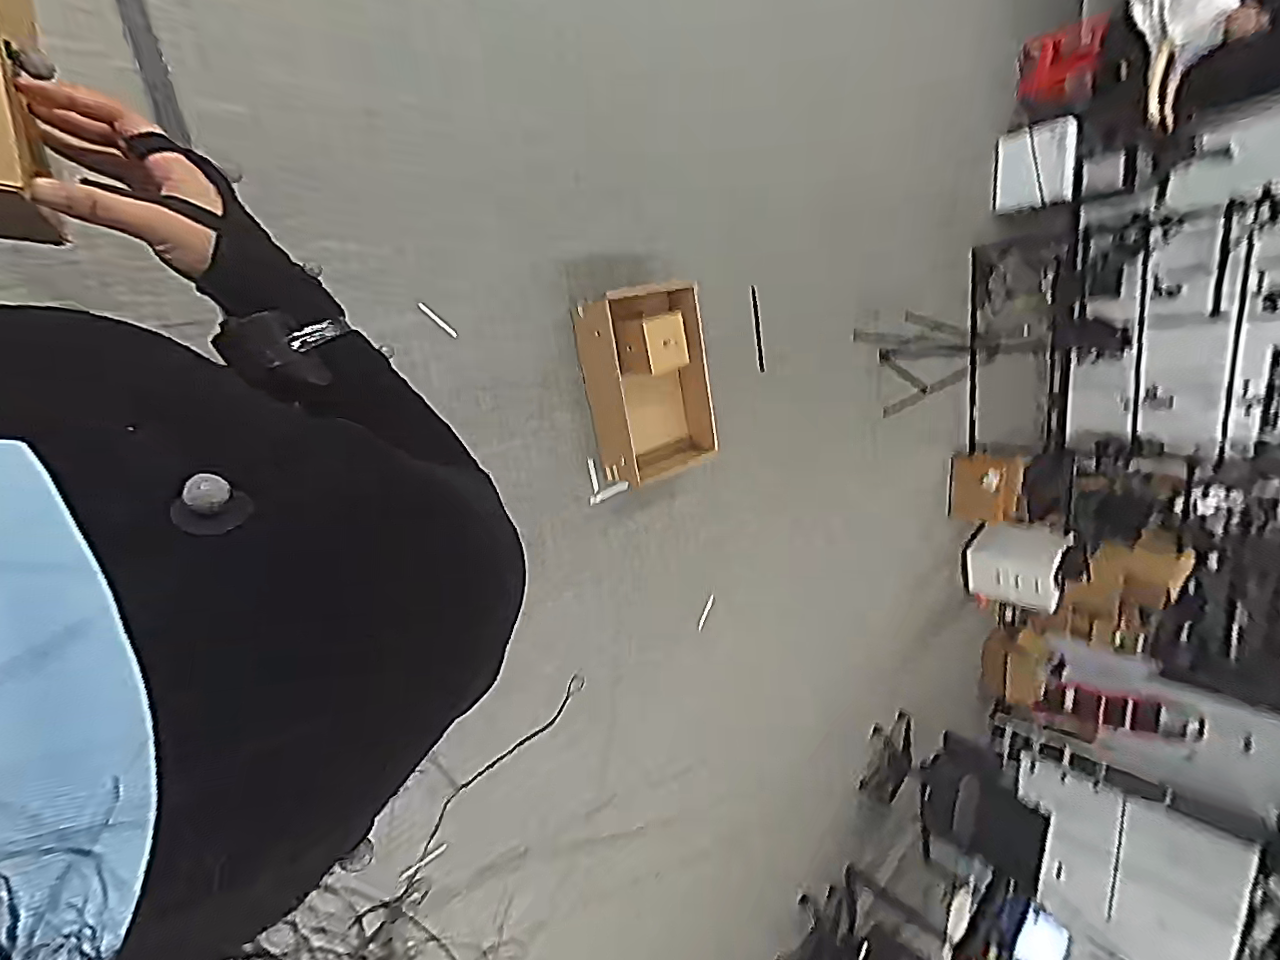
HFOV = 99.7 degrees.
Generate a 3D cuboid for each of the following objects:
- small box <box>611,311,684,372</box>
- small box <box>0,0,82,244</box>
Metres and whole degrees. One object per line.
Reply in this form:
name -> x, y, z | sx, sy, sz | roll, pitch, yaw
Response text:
small box -> 0.019, -0.460, 1.804 | 0.179, 0.176, 0.168 | -26, 114, -35
small box -> -0.433, -0.246, 0.291 | 0.168, 0.176, 0.179 | -7, 103, -41
